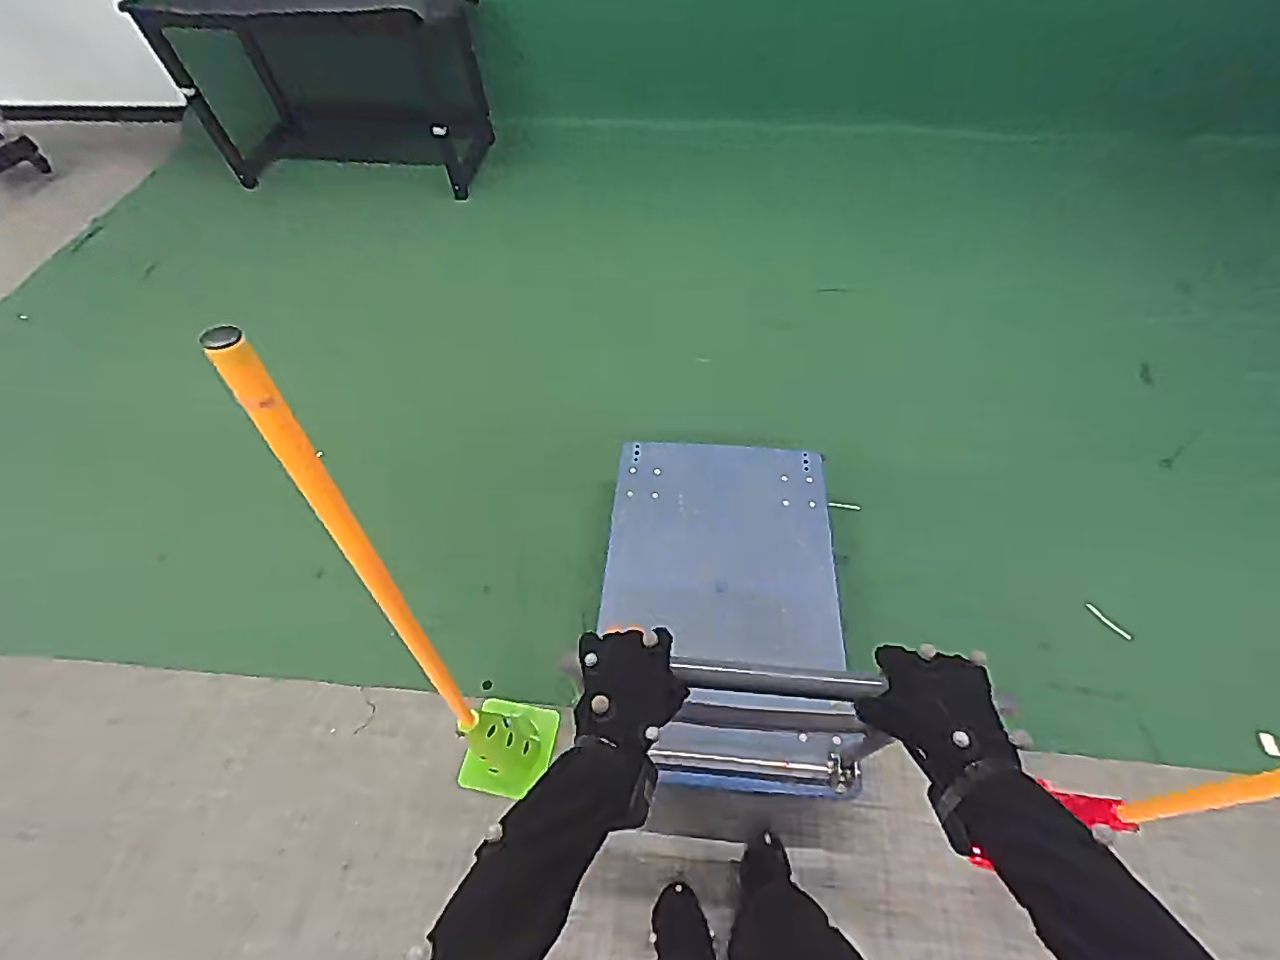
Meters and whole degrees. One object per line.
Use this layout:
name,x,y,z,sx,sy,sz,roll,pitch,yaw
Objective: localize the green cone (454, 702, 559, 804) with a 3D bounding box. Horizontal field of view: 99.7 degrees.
green cone,-0.318,0.554,1.163,0.202,0.368,0.200,8,56,8
